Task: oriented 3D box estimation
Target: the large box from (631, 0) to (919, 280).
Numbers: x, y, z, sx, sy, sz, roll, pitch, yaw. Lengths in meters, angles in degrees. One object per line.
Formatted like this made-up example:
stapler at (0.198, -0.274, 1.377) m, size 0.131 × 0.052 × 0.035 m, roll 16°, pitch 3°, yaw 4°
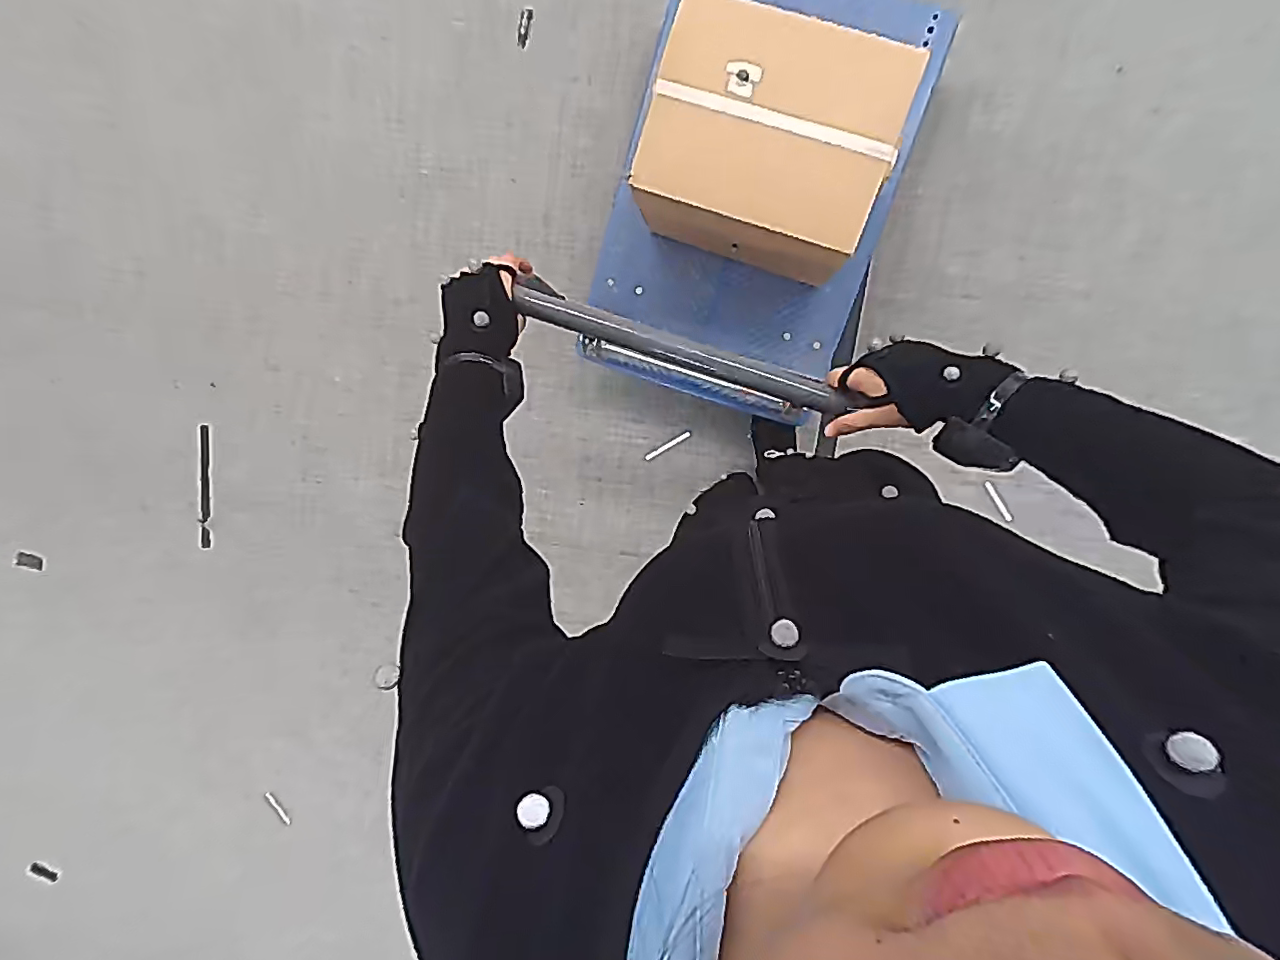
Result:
large box at (0.238, -0.619, 1.049) m, size 0.408 × 0.320 × 0.320 m, roll 20°, pitch 101°, yaw 6°
